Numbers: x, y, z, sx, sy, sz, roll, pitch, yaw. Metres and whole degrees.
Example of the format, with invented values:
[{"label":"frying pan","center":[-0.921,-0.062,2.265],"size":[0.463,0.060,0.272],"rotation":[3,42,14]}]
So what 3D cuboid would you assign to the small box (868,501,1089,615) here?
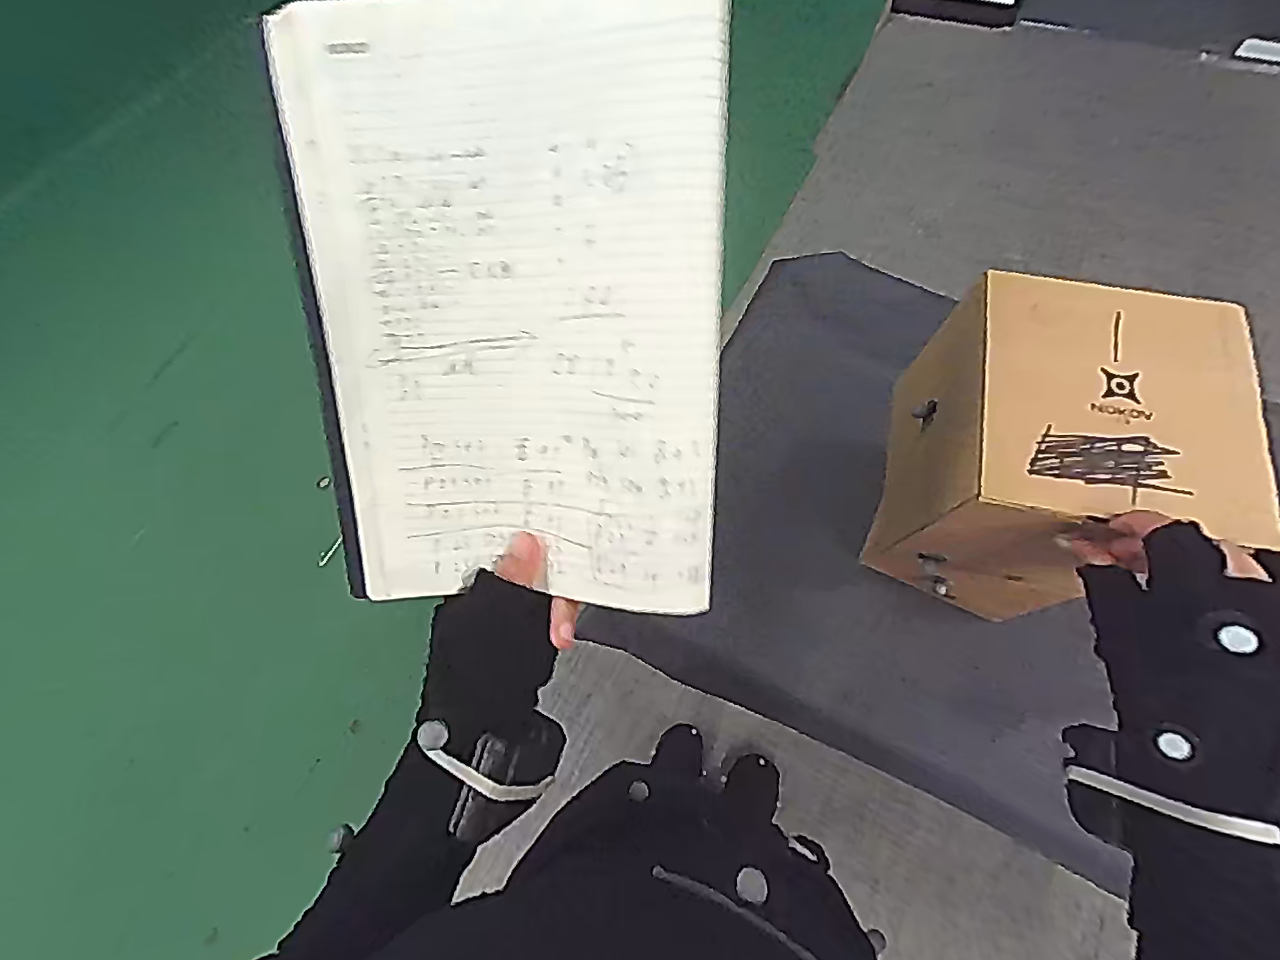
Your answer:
[{"label":"small box","center":[0.380,0.028,0.609],"size":[0.168,0.176,0.179],"rotation":[24,71,16]}]

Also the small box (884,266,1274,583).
[{"label":"small box","center":[0.306,-0.029,0.420],"size":[0.168,0.176,0.179],"rotation":[12,71,7]}]
